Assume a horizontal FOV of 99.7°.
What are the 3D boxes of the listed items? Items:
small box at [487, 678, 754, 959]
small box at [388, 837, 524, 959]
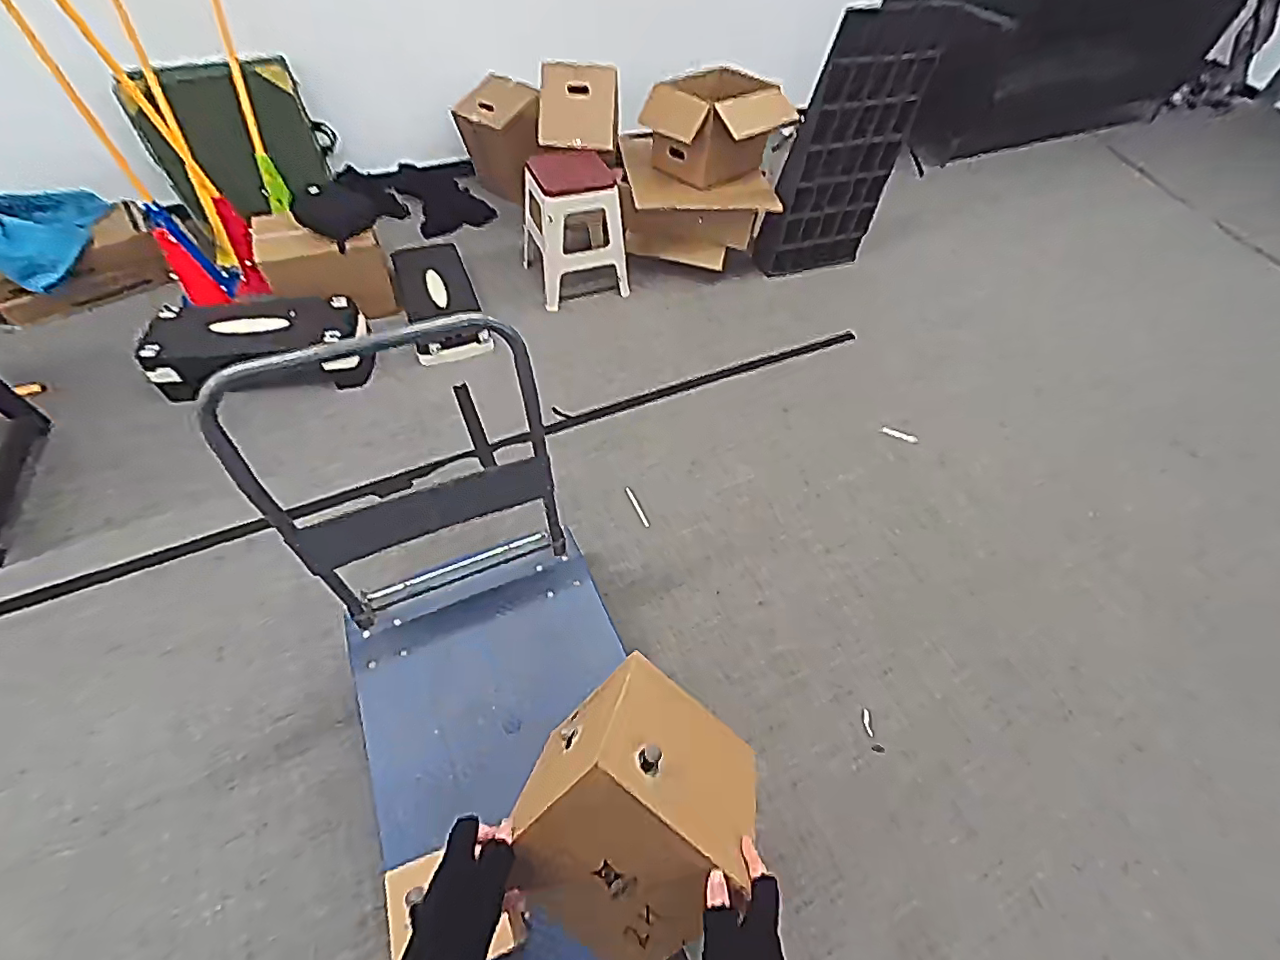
[{"bbox_3d":[-0.007,0.326,0.532,0.179,0.168,0.176,40,20,-1],"label":"small box"},{"bbox_3d":[-0.299,0.724,0.903,0.179,0.176,0.168,-16,55,-14],"label":"small box"}]
